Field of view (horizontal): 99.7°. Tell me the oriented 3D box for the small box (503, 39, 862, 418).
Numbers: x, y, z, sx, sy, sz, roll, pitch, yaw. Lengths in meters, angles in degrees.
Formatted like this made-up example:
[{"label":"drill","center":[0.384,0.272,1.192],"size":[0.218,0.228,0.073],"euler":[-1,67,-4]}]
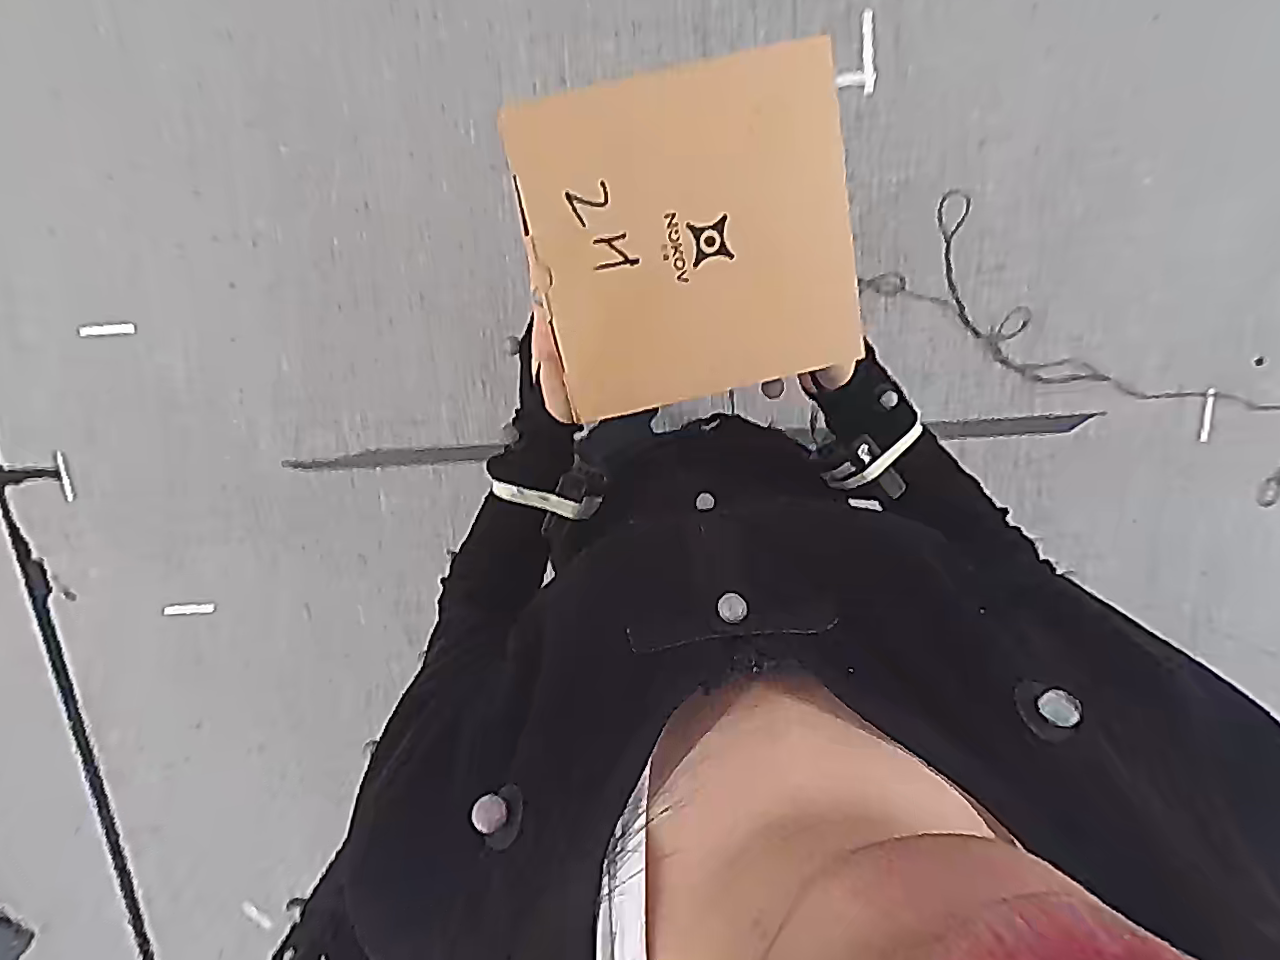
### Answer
[{"label":"small box","center":[0.024,-0.150,0.370],"size":[0.179,0.176,0.168],"euler":[-13,105,-1]}]
